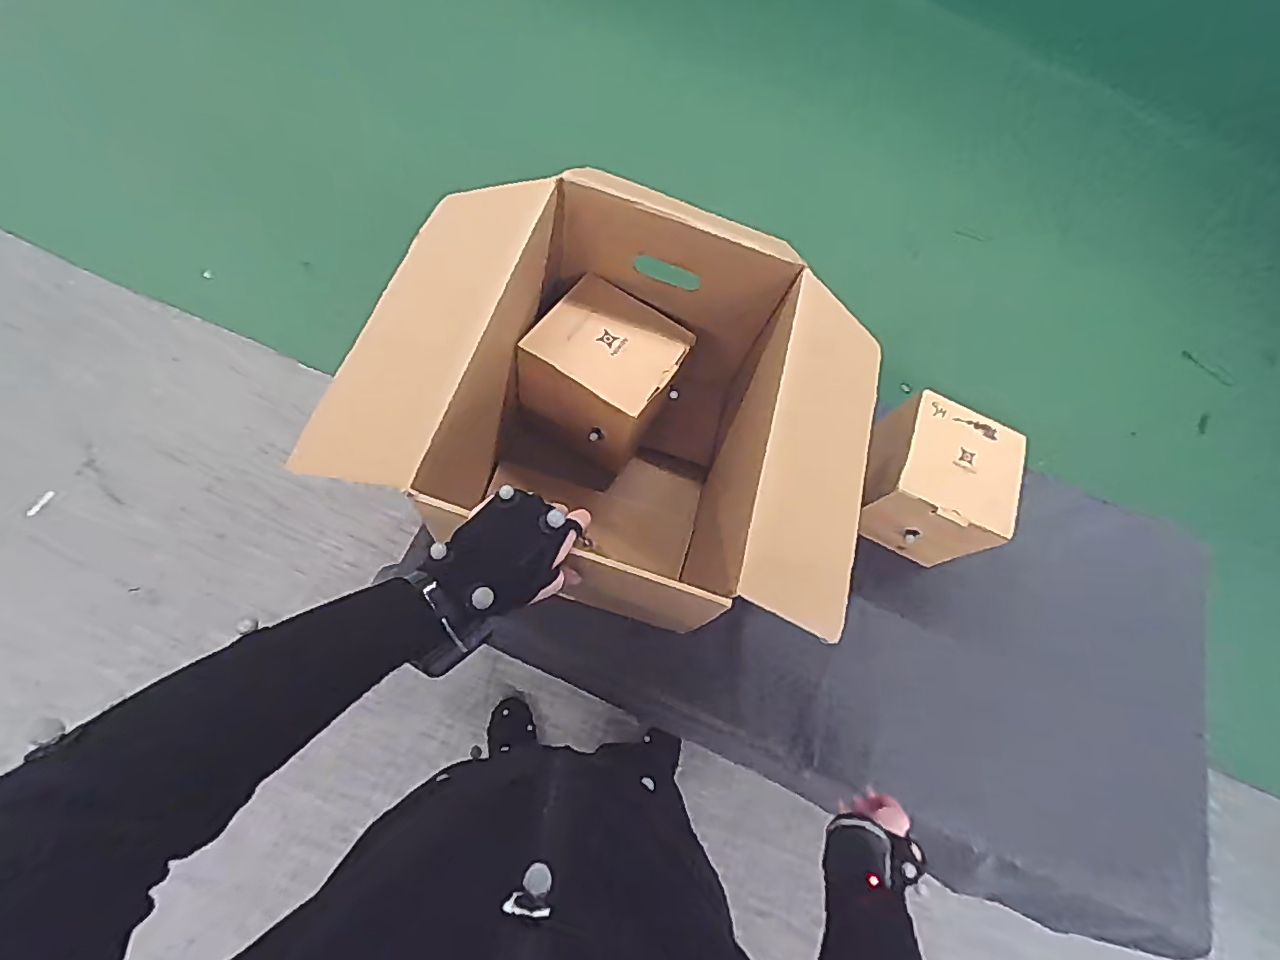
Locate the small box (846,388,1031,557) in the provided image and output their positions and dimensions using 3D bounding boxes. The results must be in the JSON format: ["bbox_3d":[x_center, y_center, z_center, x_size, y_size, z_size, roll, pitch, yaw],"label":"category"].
[{"bbox_3d":[0.442,-0.001,0.824,0.168,0.176,0.179,27,69,0],"label":"small box"}]
